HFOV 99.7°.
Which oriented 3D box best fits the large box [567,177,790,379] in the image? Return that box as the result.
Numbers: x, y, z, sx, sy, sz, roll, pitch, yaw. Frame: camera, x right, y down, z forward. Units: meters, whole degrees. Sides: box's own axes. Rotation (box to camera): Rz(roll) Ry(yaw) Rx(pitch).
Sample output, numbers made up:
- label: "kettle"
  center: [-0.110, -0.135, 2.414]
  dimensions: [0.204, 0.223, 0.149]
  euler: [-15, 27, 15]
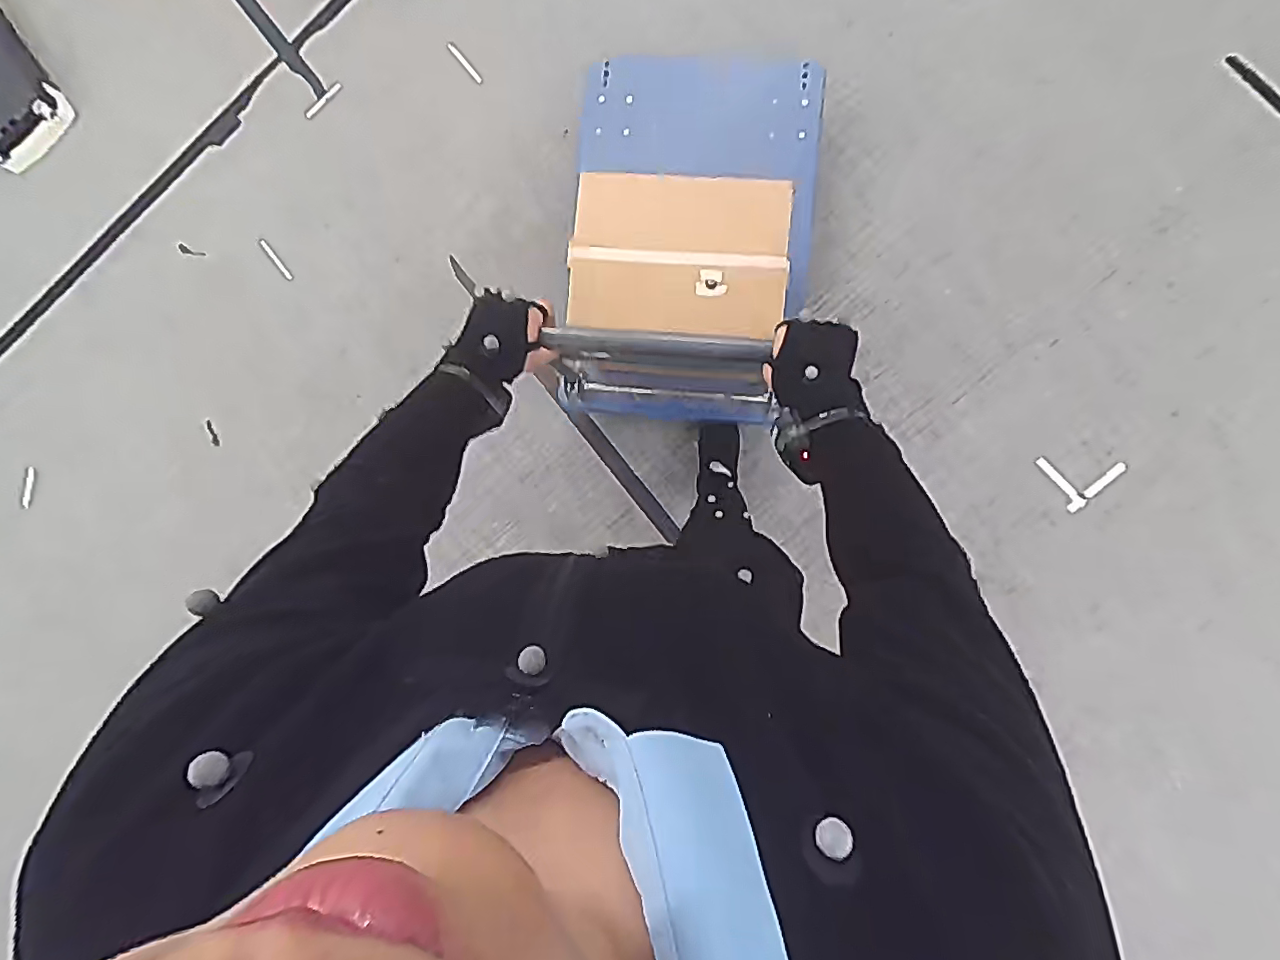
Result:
- label: "large box"
  center: [0.078, -0.408, 1.160]
  dimensions: [0.408, 0.320, 0.320]
  euler: [5, 91, 5]
